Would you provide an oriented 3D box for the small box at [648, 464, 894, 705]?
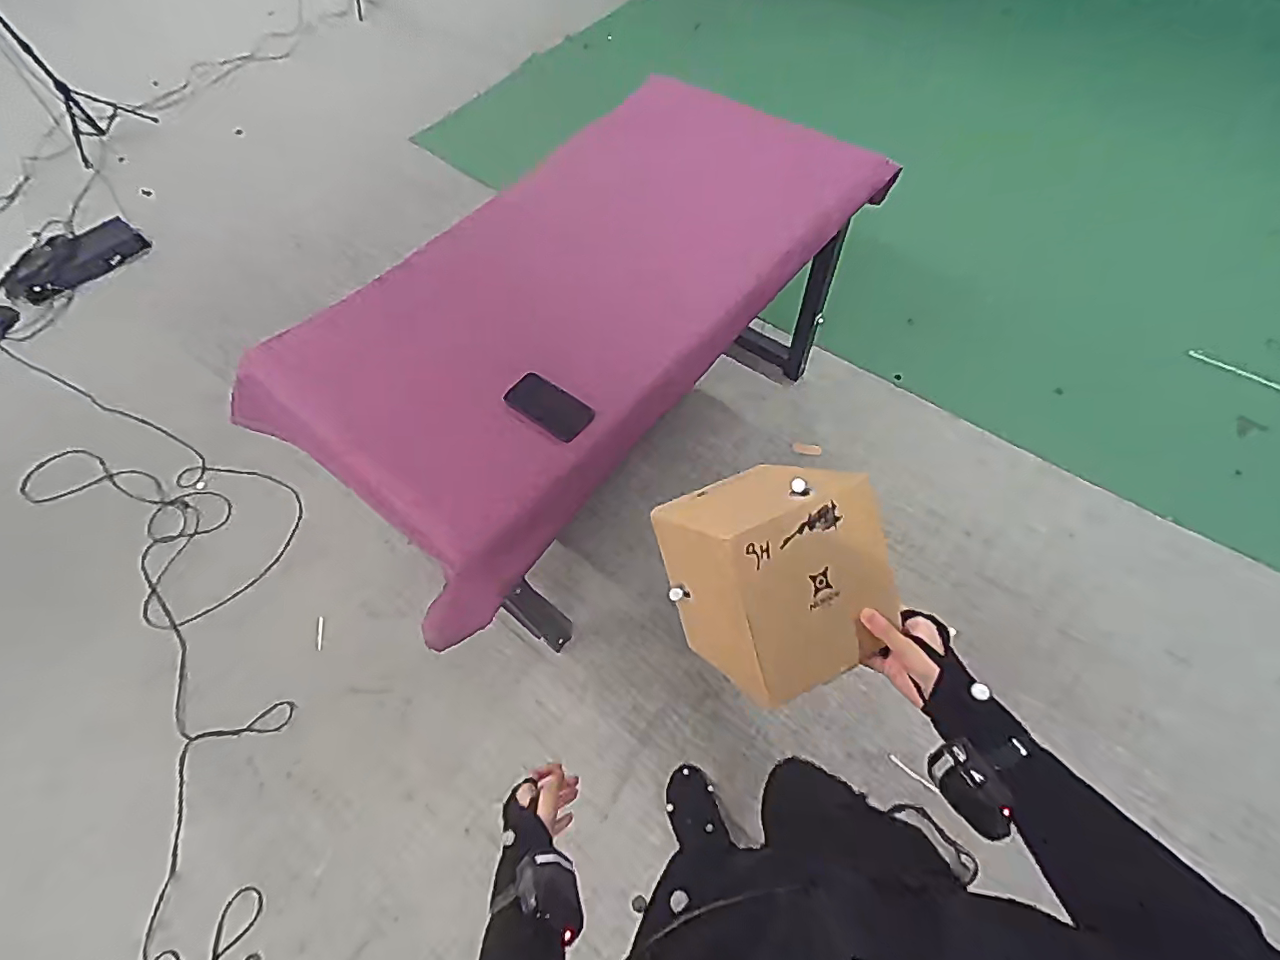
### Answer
[{"bbox_3d":[0.129,0.092,0.572,0.168,0.176,0.179,-21,102,-20],"label":"small box"}]
